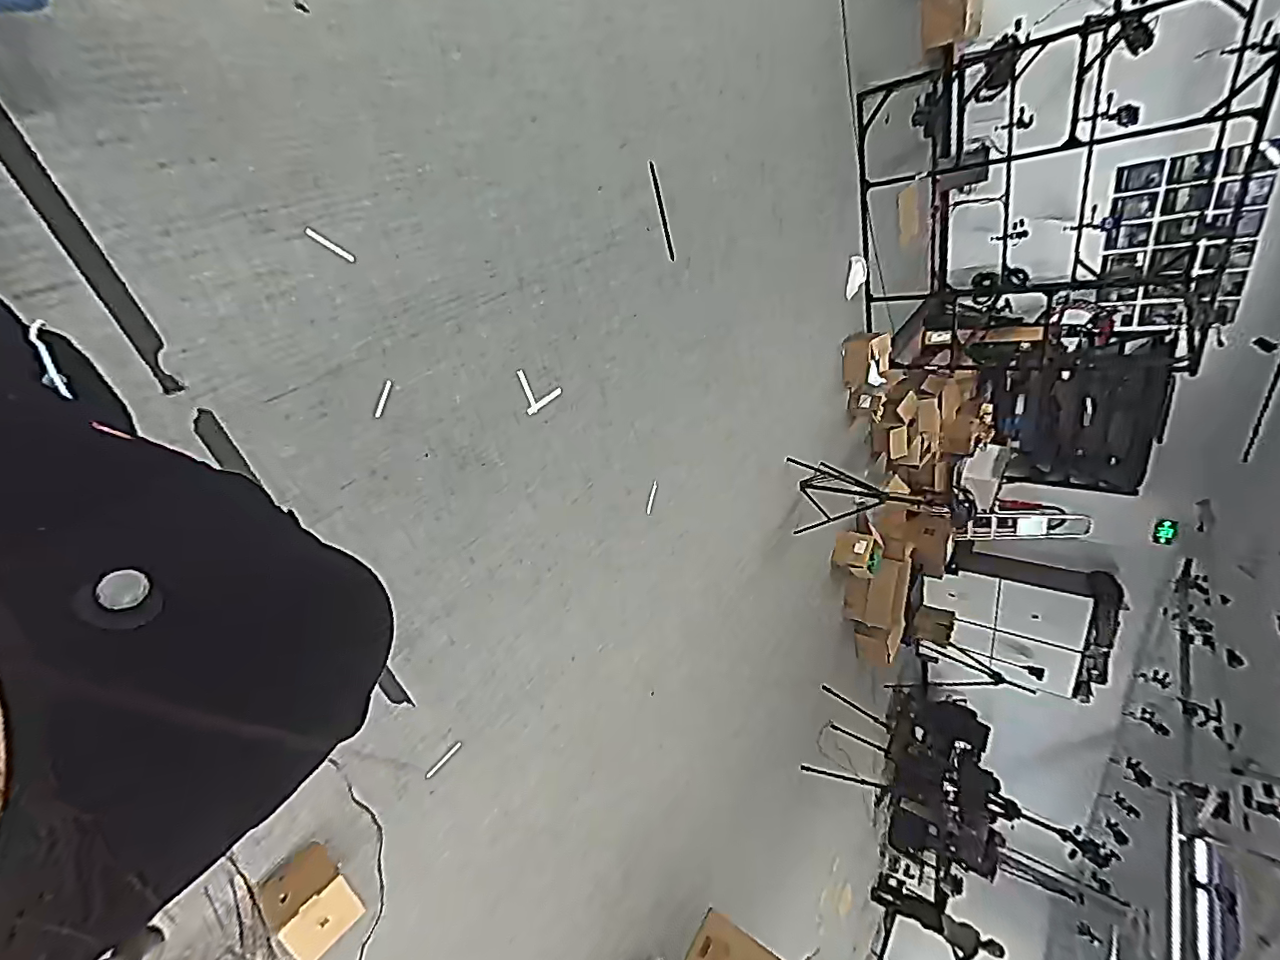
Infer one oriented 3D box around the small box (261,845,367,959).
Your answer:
[{"bbox_3d":[-0.887,1.140,1.468,0.168,0.176,0.179,-34,124,-41],"label":"small box"}]
